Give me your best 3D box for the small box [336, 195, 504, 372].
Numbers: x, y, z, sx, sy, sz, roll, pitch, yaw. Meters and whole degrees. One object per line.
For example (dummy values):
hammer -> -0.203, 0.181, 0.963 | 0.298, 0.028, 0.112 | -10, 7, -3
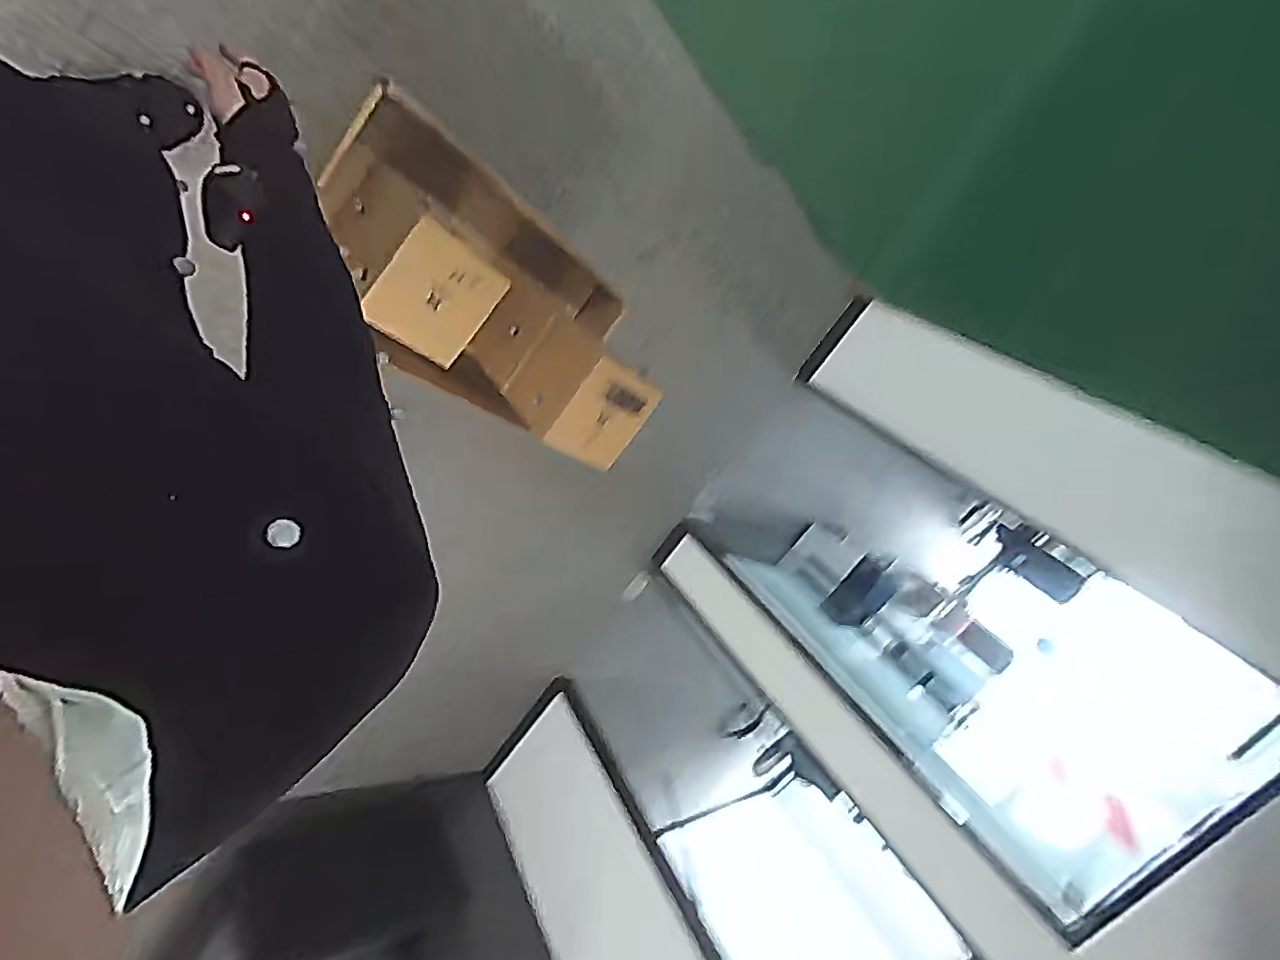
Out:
small box -> -0.357, -0.314, 0.865 | 0.179, 0.176, 0.168 | -49, 143, 7

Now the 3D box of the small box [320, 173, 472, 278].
small box -> -0.442, -0.411, 0.968 | 0.179, 0.176, 0.168 | -50, 142, 8

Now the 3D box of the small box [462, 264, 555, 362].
small box -> -0.288, -0.333, 1.178 | 0.179, 0.176, 0.168 | -51, 141, 9

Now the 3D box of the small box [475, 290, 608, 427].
small box -> -0.203, -0.241, 1.072 | 0.179, 0.176, 0.168 | -53, 140, 10
